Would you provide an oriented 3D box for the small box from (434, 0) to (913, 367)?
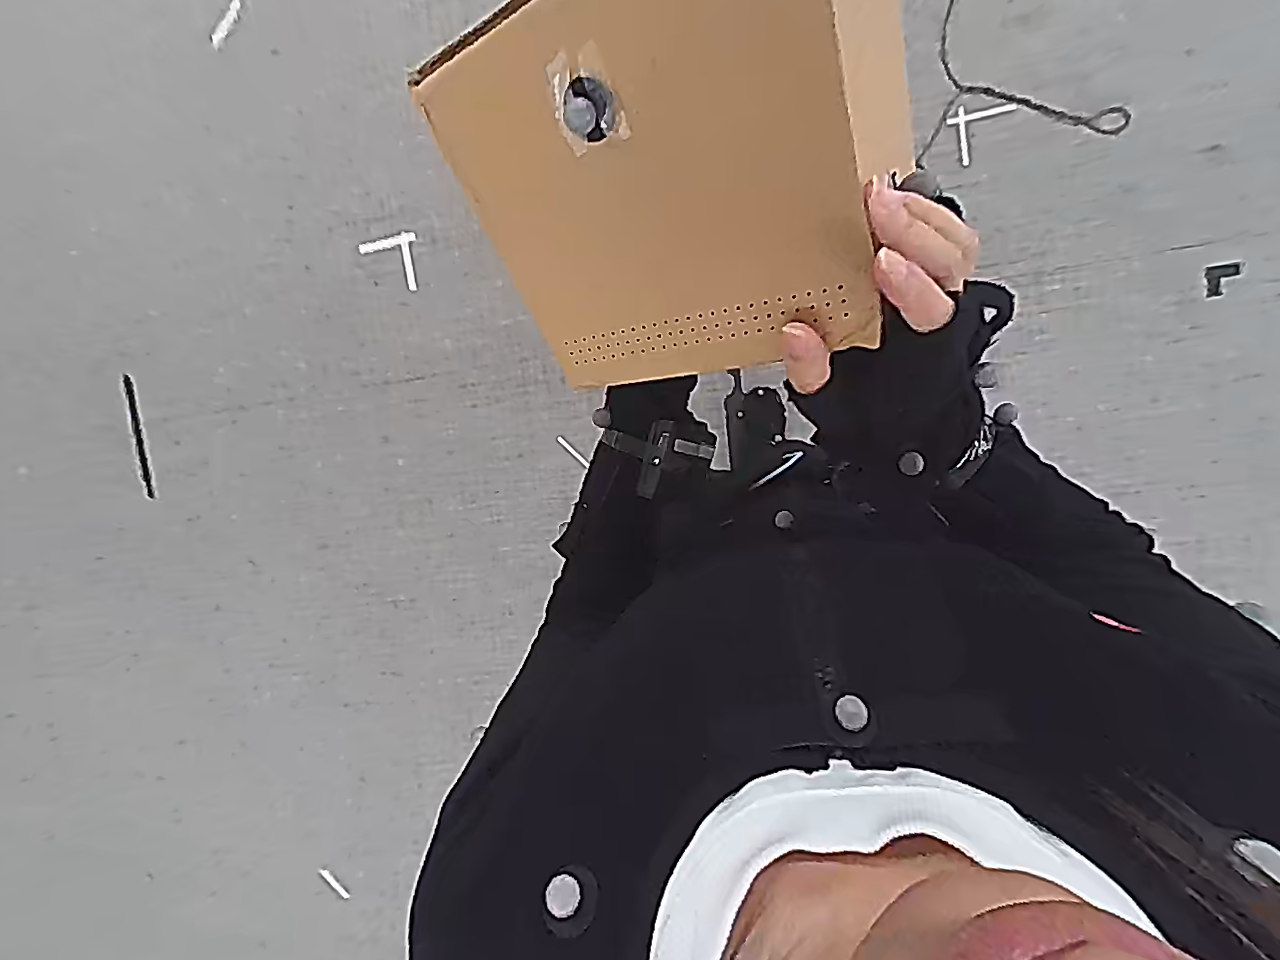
[{"bbox_3d":[0.037,-0.178,0.297,0.179,0.168,0.176,-1,134,34],"label":"small box"}]
